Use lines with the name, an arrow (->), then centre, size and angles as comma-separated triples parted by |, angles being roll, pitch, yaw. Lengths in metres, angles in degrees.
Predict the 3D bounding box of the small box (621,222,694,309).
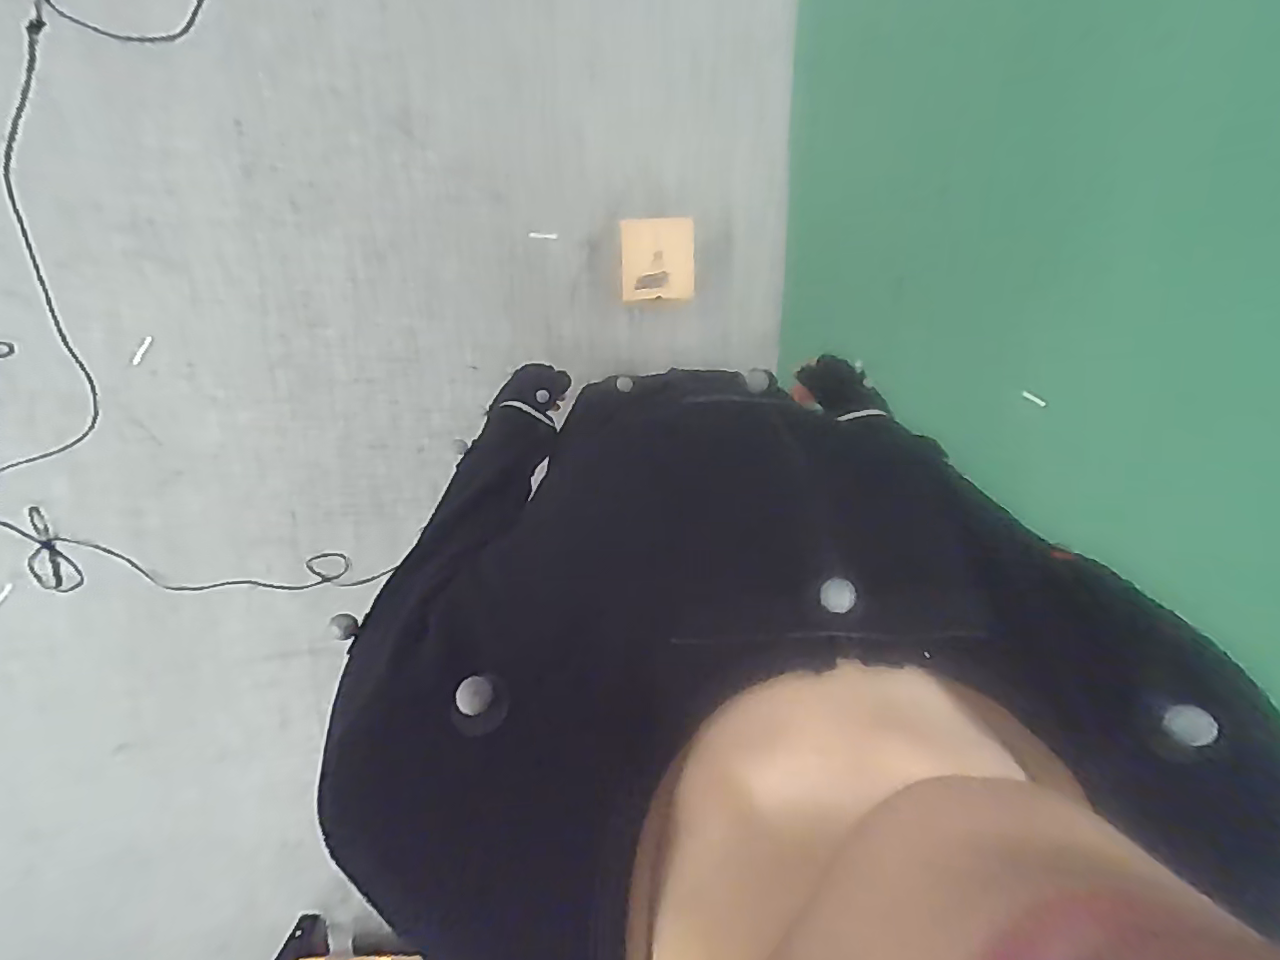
small box -> 0.041, -0.506, 1.297 | 0.168, 0.176, 0.179 | -1, 102, 0
